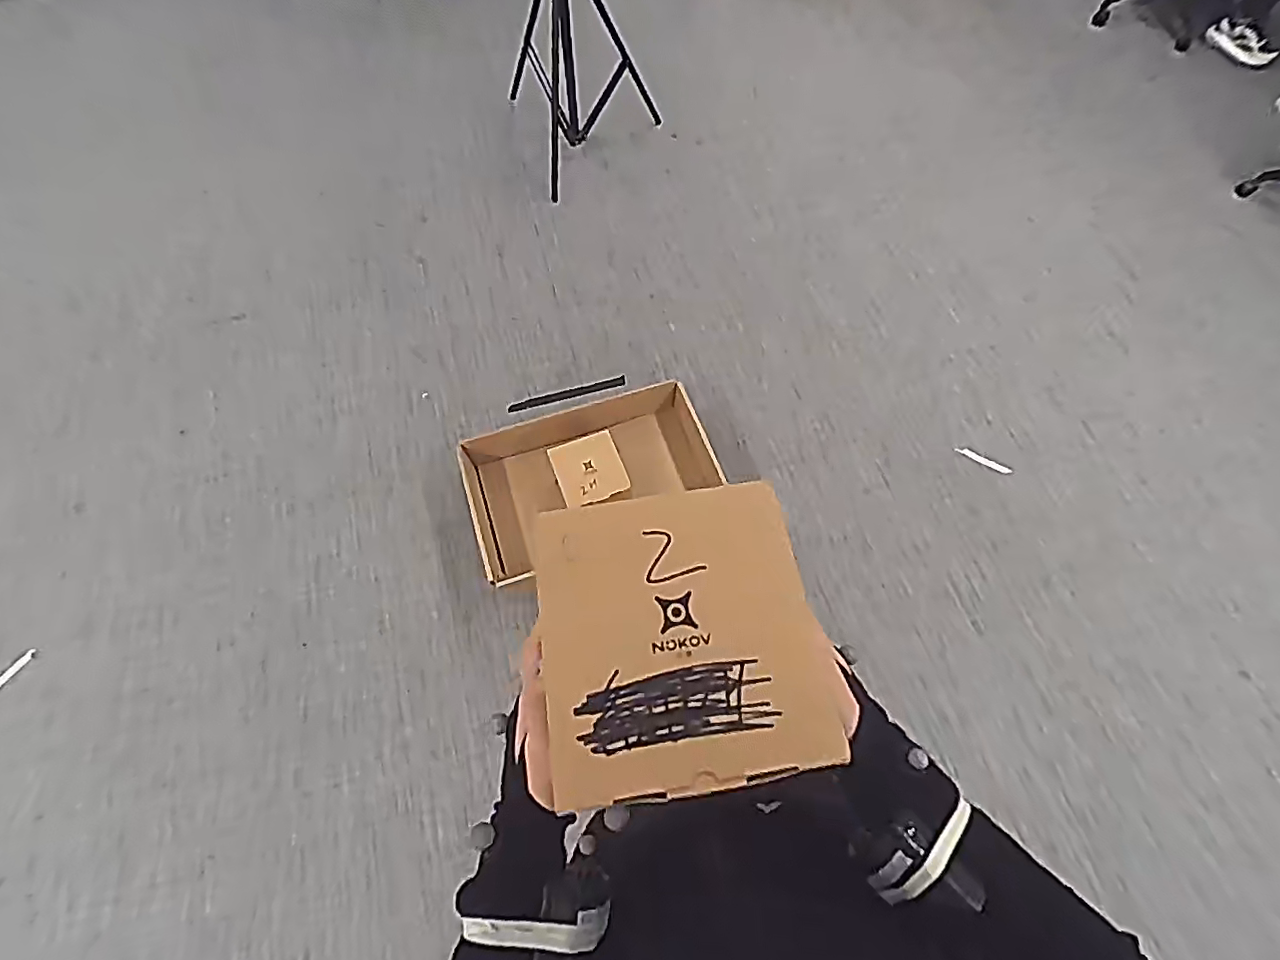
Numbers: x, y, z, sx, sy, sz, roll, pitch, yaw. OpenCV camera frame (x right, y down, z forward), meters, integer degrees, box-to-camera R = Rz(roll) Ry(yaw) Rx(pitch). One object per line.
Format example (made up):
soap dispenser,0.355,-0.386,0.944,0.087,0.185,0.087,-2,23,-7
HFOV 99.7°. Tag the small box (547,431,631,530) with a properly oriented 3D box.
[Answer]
small box,-0.130,0.005,1.401,0.168,0.176,0.179,-20,69,-10
